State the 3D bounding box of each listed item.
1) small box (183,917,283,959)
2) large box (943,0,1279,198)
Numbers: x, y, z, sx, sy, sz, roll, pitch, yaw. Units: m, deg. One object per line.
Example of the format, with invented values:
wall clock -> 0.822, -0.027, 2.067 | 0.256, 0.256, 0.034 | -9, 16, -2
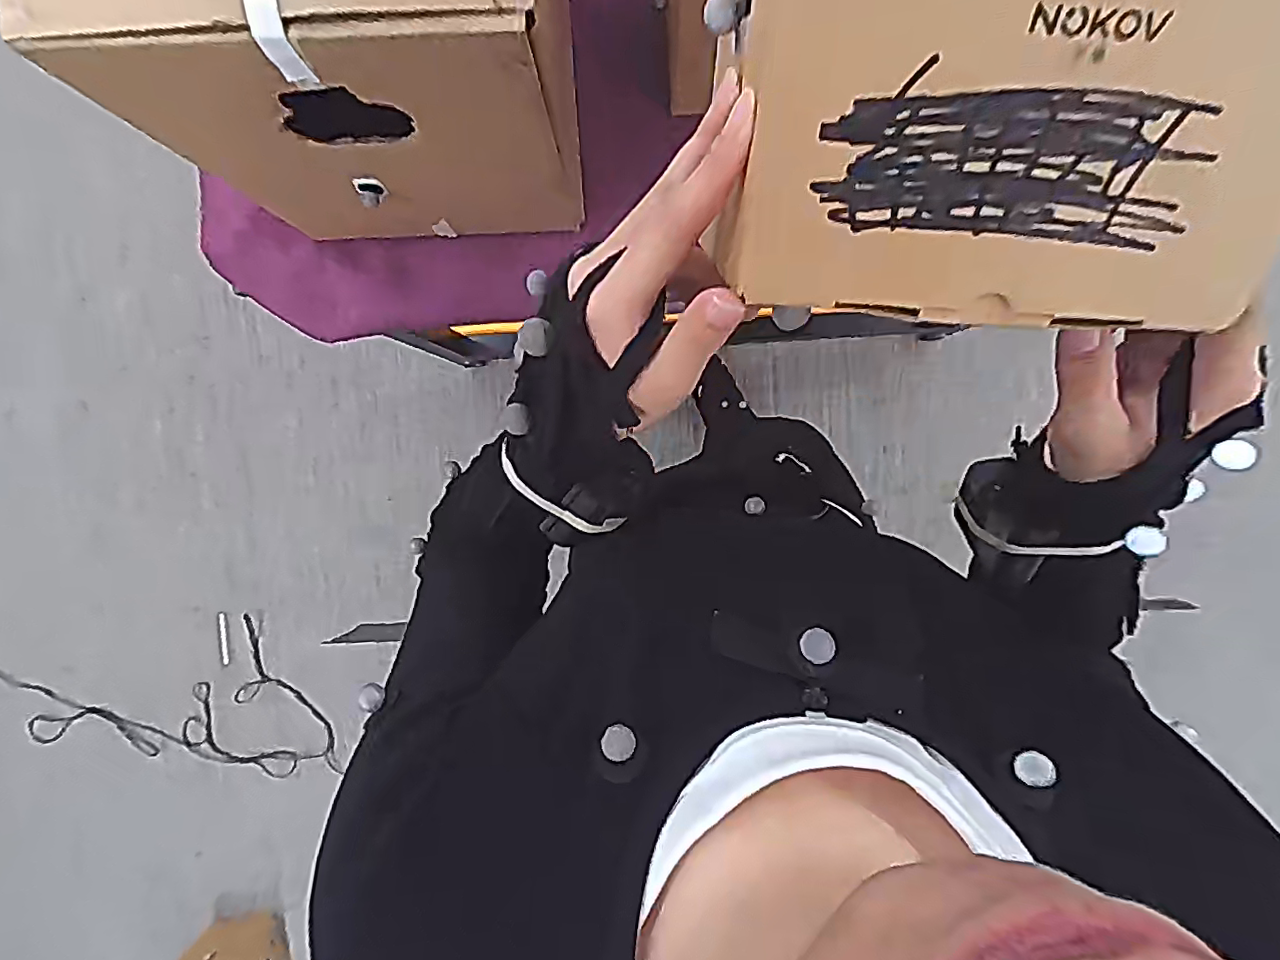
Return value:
small box -> -1.068, 1.283, 1.397 | 0.179, 0.176, 0.168 | -9, 94, 1
large box -> 0.473, -0.510, 0.435 | 0.320, 0.320, 0.408 | -4, 92, 1
